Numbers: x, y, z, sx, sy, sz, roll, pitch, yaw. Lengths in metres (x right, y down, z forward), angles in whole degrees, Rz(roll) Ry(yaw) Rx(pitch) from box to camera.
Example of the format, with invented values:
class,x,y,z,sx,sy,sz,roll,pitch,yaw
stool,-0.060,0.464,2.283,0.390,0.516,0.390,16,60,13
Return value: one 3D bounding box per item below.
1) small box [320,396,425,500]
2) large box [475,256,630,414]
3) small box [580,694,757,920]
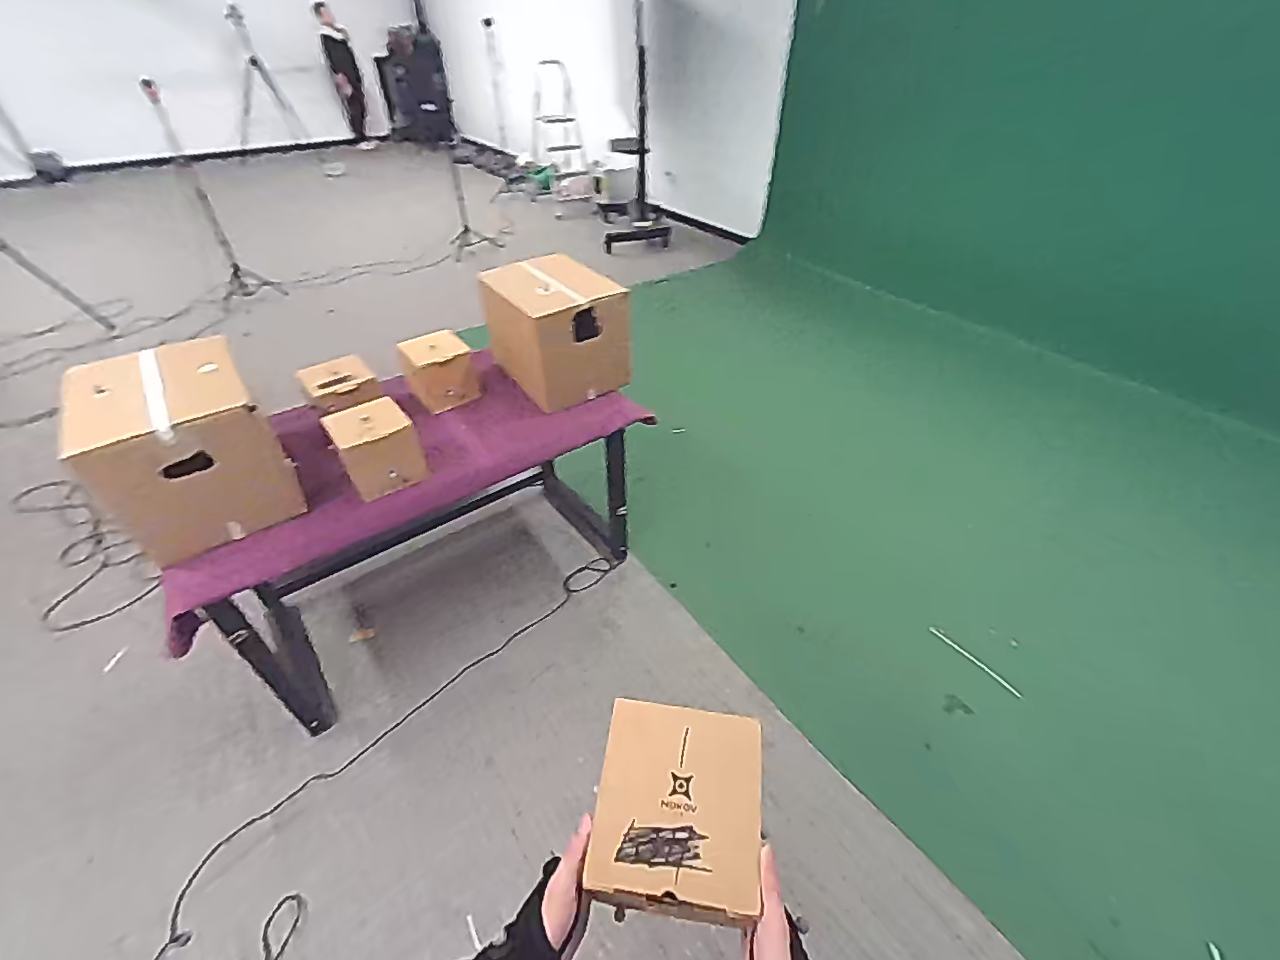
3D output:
class,x,y,z,sx,sy,sz,roll,pitch,yaw
small box,-0.667,-0.081,1.356,0.168,0.176,0.179,-28,47,-28
large box,-0.271,-0.468,1.707,0.320,0.320,0.408,-27,48,-26
small box,0.036,0.365,0.602,0.168,0.176,0.179,6,47,5
